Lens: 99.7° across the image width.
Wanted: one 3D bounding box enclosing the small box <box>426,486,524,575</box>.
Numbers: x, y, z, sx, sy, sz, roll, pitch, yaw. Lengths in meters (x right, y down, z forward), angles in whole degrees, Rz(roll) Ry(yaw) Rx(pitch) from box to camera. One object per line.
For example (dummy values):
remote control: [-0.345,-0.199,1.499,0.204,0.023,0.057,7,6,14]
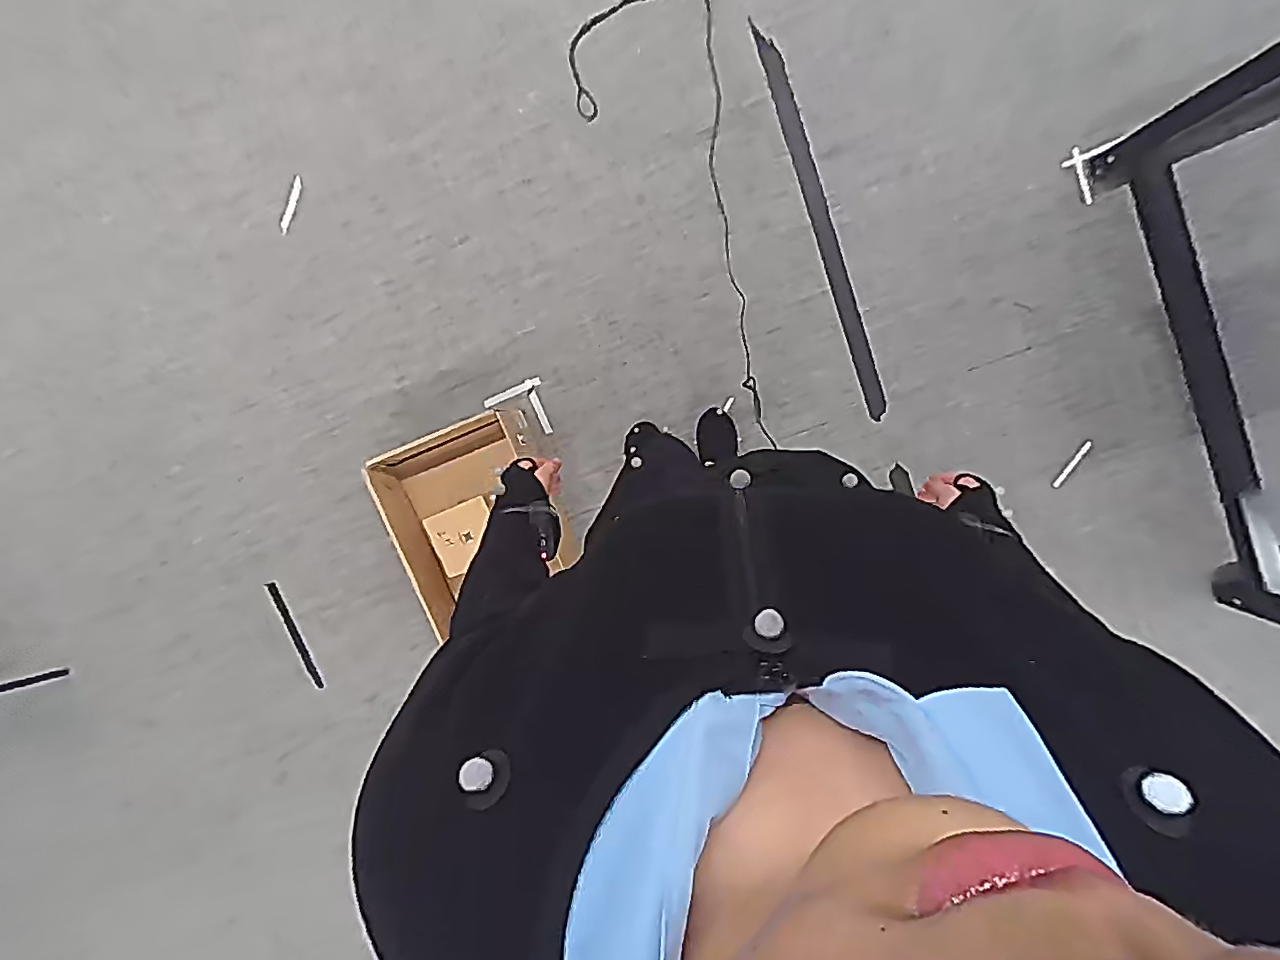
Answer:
small box: [-0.424,0.127,1.434,0.179,0.176,0.168,-22,96,8]
